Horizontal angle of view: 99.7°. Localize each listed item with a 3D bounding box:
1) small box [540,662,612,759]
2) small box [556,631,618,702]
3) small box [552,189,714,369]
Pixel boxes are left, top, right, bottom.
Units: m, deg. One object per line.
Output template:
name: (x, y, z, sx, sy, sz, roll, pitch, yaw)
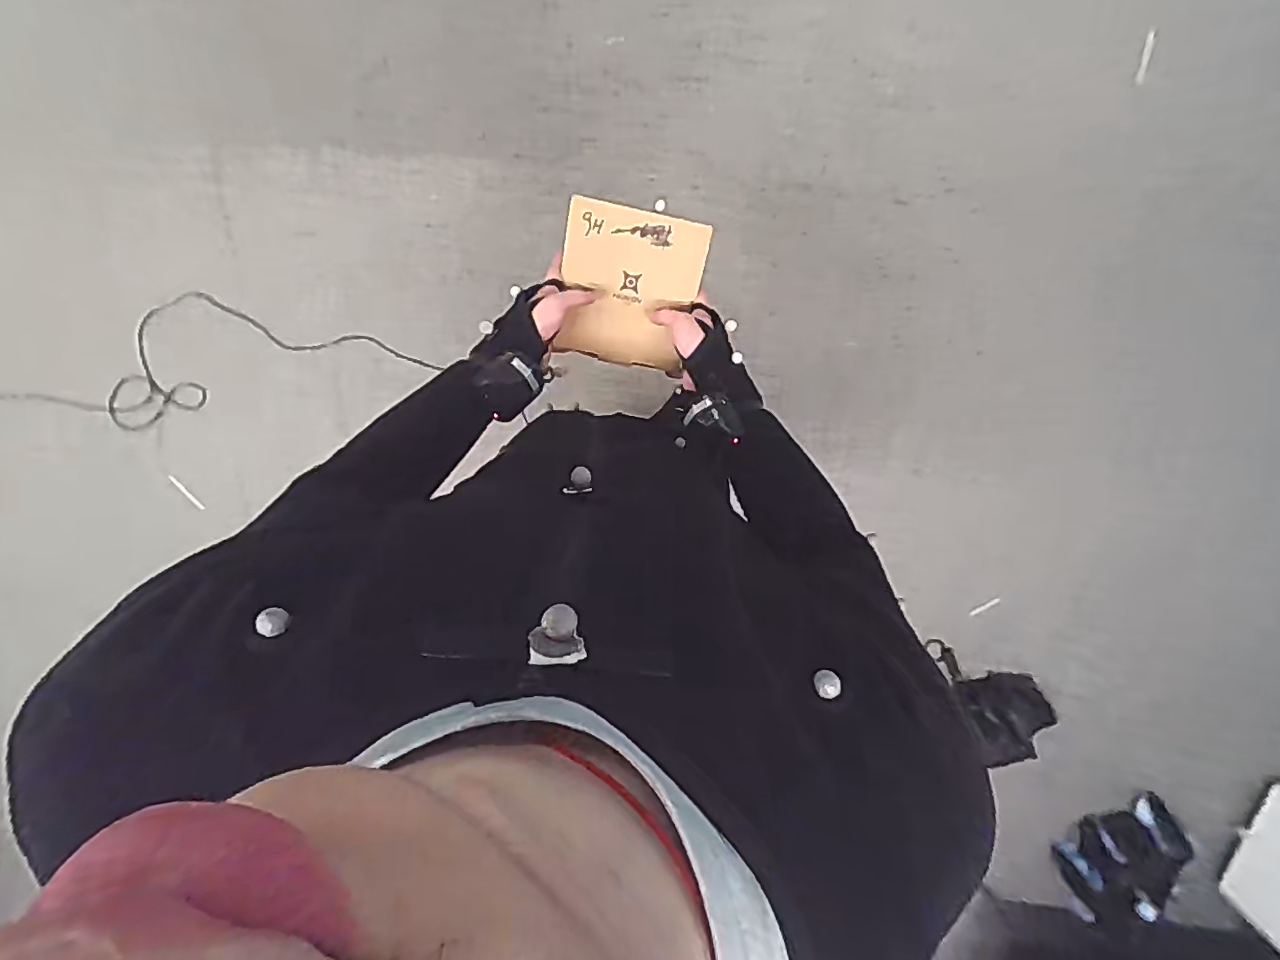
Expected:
small box: (-0.170, 0.618, 1.468, 0.168, 0.176, 0.179, 5, 104, 4)
small box: (-0.160, 0.582, 1.626, 0.168, 0.176, 0.179, 6, 103, 2)
small box: (-0.010, -0.266, 0.703, 0.168, 0.176, 0.179, 10, 118, -4)
